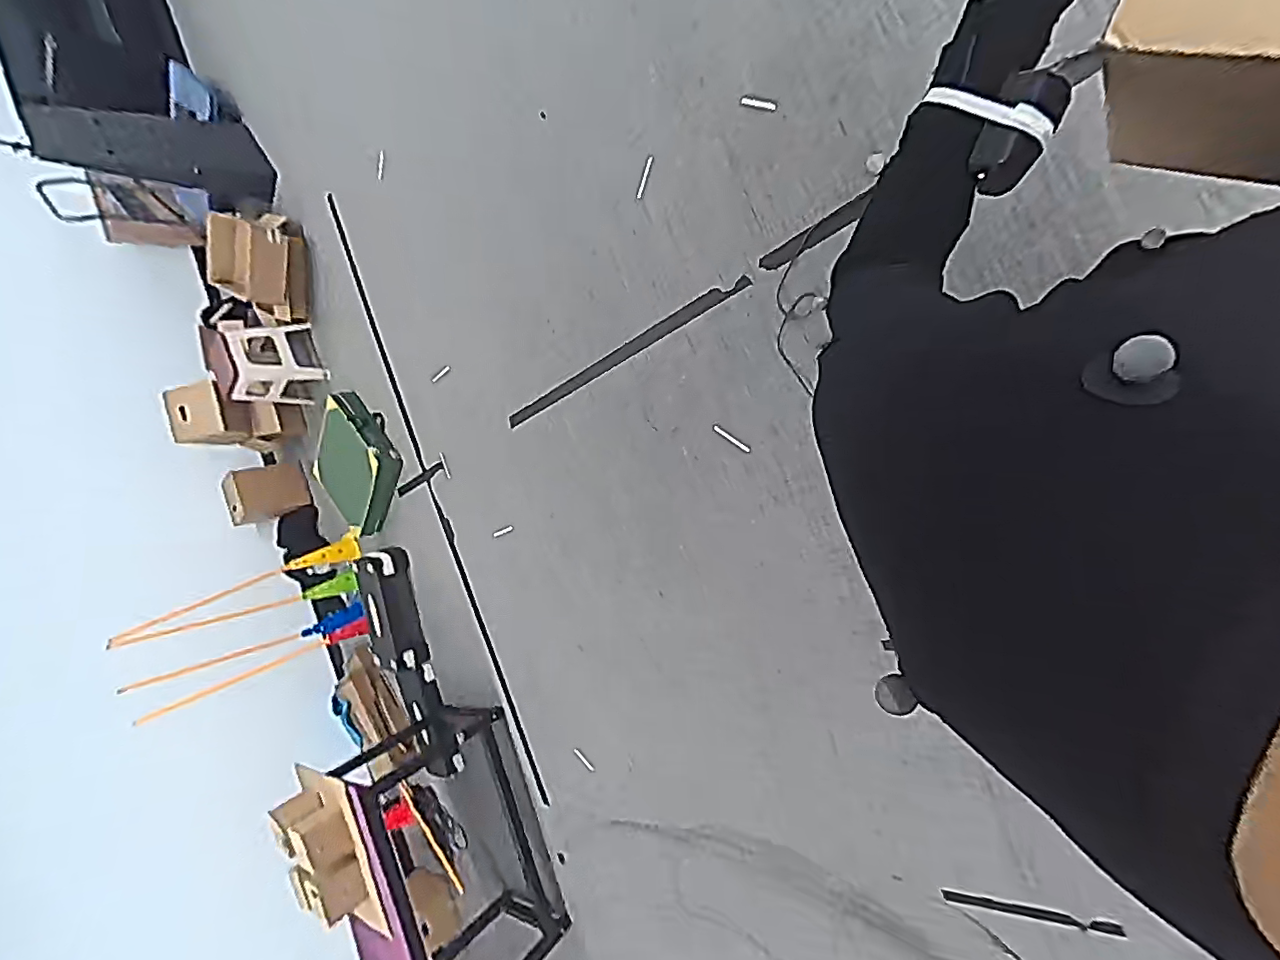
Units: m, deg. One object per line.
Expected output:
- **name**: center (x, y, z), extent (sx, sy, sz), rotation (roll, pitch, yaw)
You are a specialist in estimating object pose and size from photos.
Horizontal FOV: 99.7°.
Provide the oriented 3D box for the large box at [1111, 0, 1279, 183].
- **large box**: center (0.561, -0.339, 0.276), extent (0.408, 0.320, 0.320), rotation (32, 122, 30)
